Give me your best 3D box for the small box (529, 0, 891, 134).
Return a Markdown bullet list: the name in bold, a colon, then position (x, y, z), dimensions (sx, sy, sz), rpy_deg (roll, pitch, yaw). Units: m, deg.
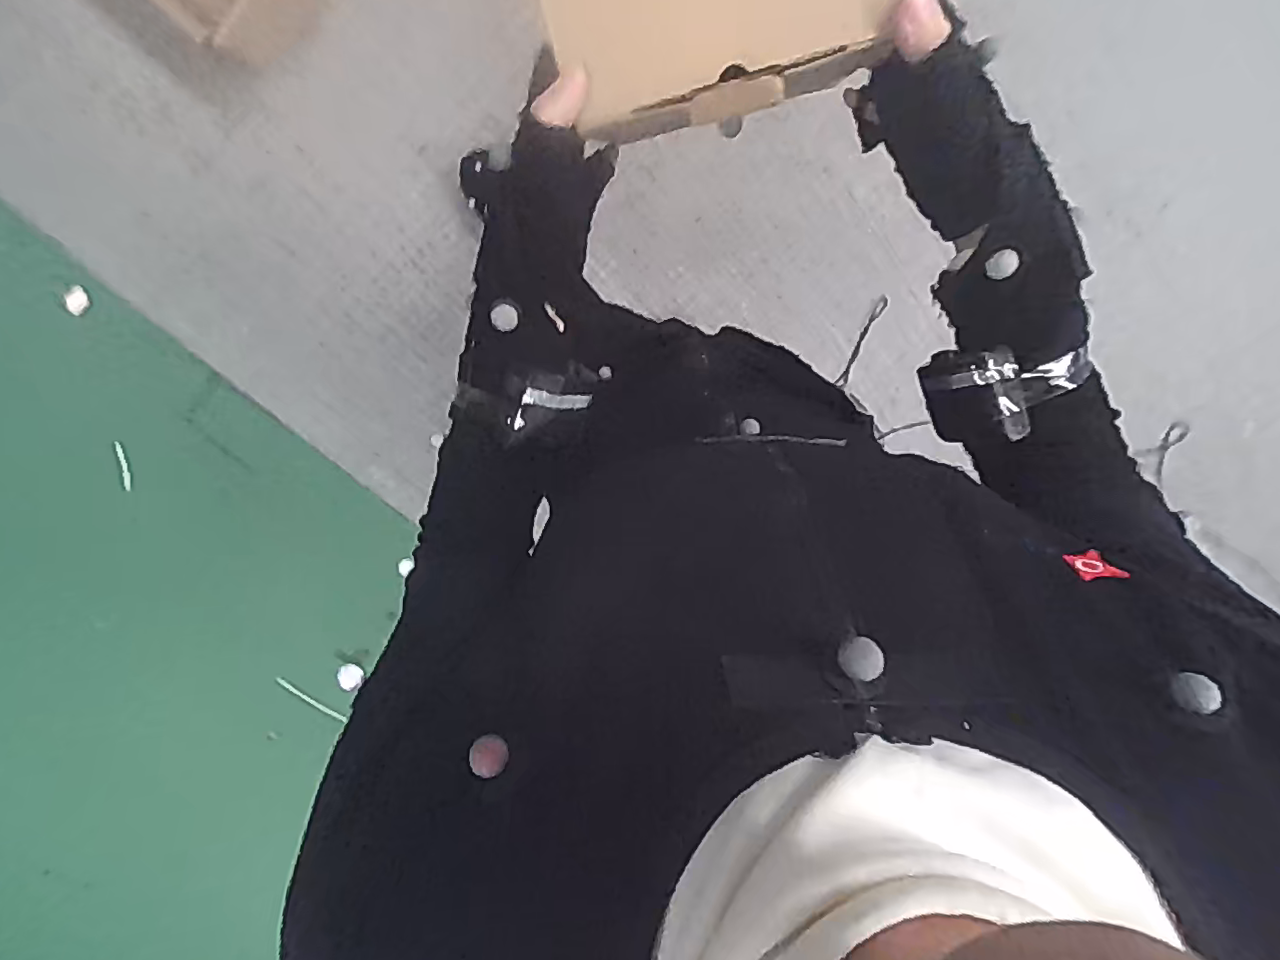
- **small box**: position (0.027, -0.308, 0.294), dimensions (0.168, 0.176, 0.179), rpy_deg (-9, 118, 12)
